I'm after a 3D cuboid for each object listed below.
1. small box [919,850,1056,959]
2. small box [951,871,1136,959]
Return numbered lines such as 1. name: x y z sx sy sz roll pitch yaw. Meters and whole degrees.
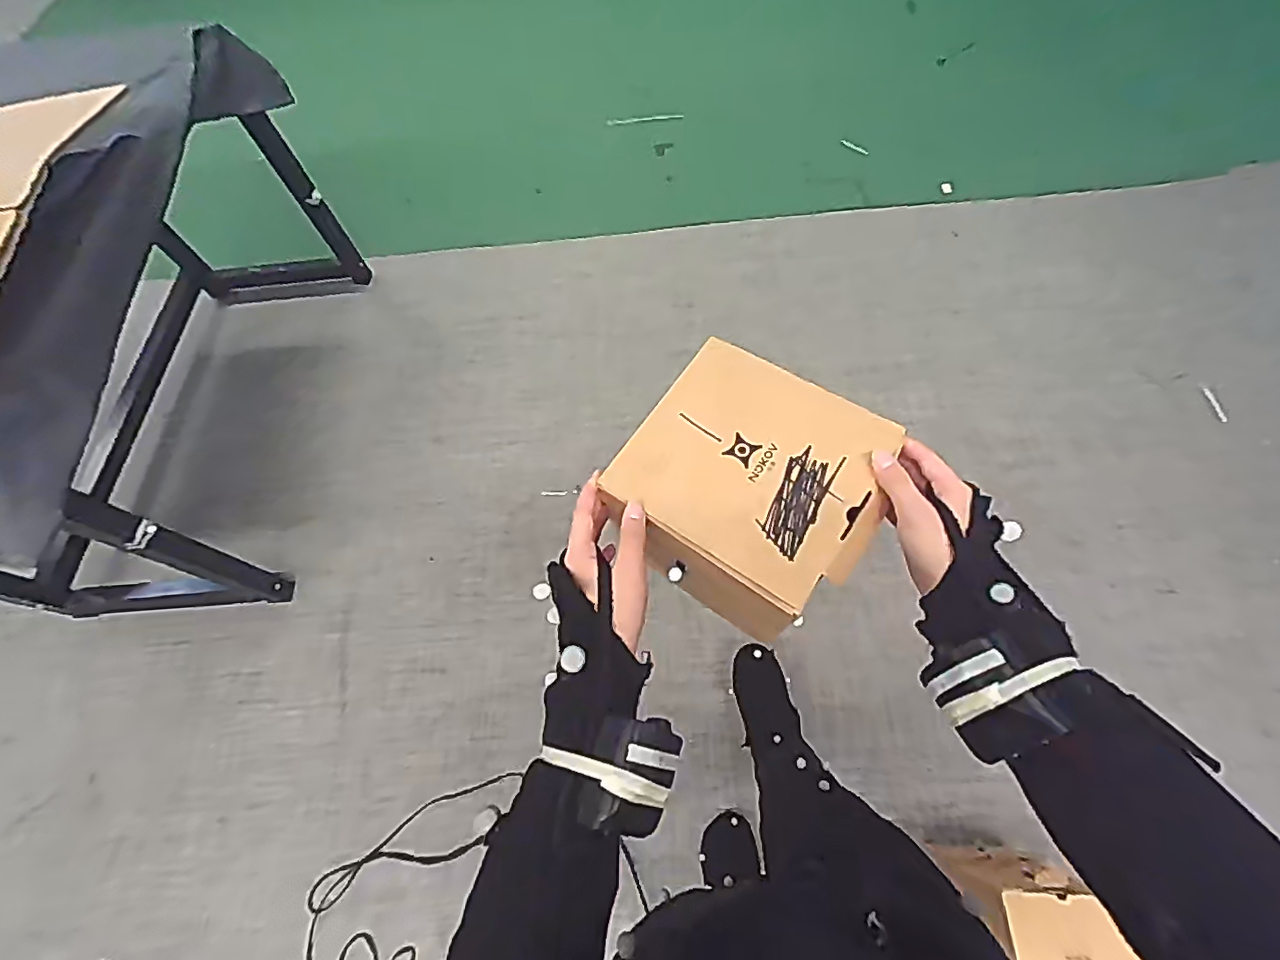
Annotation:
1. small box: 0.616 0.762 0.946 0.168 0.176 0.179 -1 62 4
2. small box: 0.592 0.701 0.795 0.168 0.176 0.179 -1 63 4
